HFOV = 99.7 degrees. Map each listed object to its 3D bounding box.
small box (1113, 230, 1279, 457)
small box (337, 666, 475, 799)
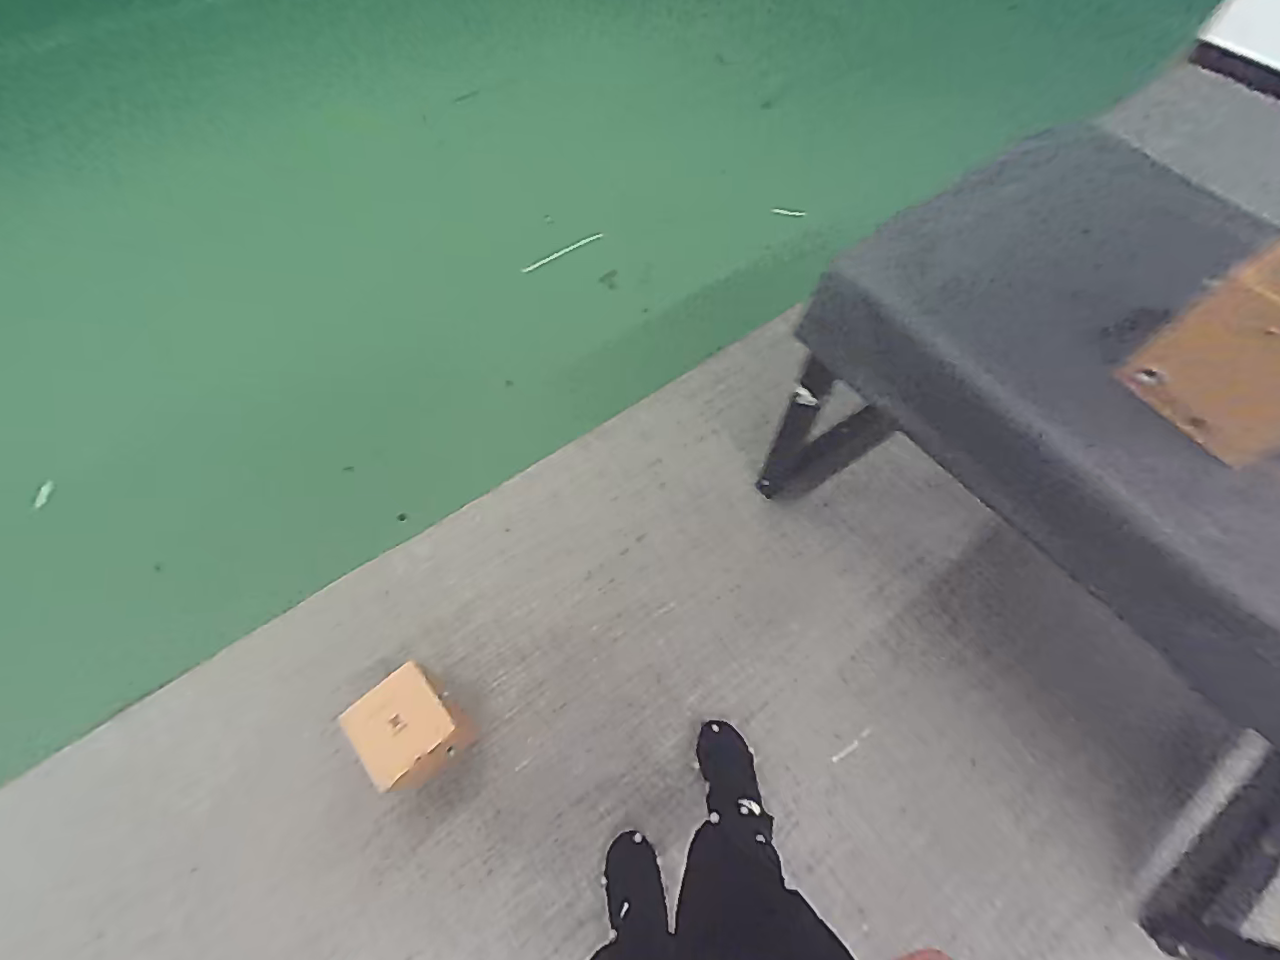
[{"bbox_3d":[0.709,-0.155,0.619,0.179,0.176,0.168,-29,66,-15],"label":"small box"},{"bbox_3d":[-0.465,0.512,1.102,0.168,0.176,0.179,-39,67,-19],"label":"small box"}]
